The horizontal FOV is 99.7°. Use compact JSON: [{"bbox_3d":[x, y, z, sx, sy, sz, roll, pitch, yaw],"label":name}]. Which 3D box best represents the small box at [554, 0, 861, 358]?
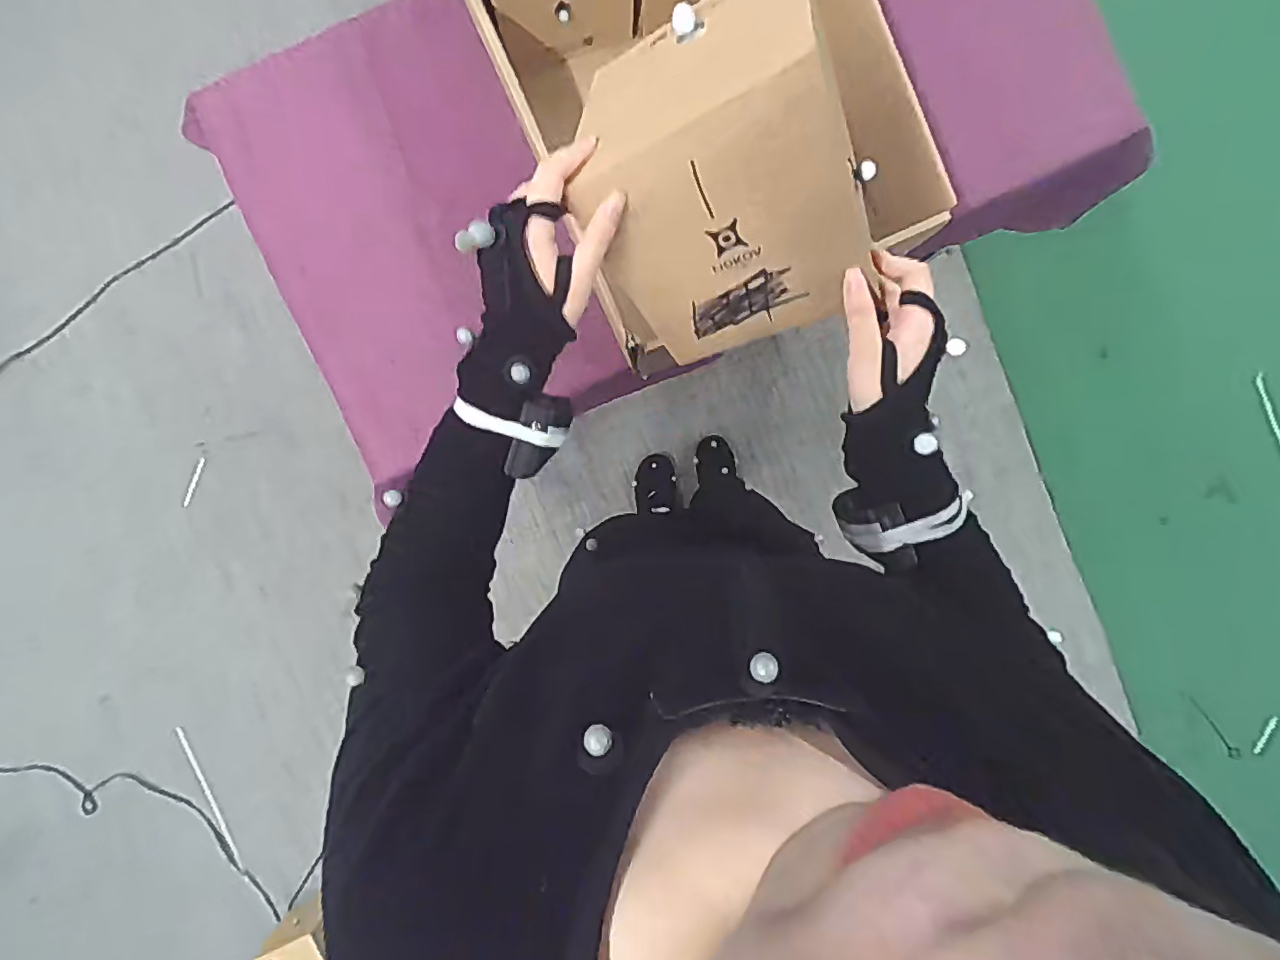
[{"bbox_3d":[0.063,-0.232,0.421,0.168,0.179,0.176,-13,52,29],"label":"small box"}]
